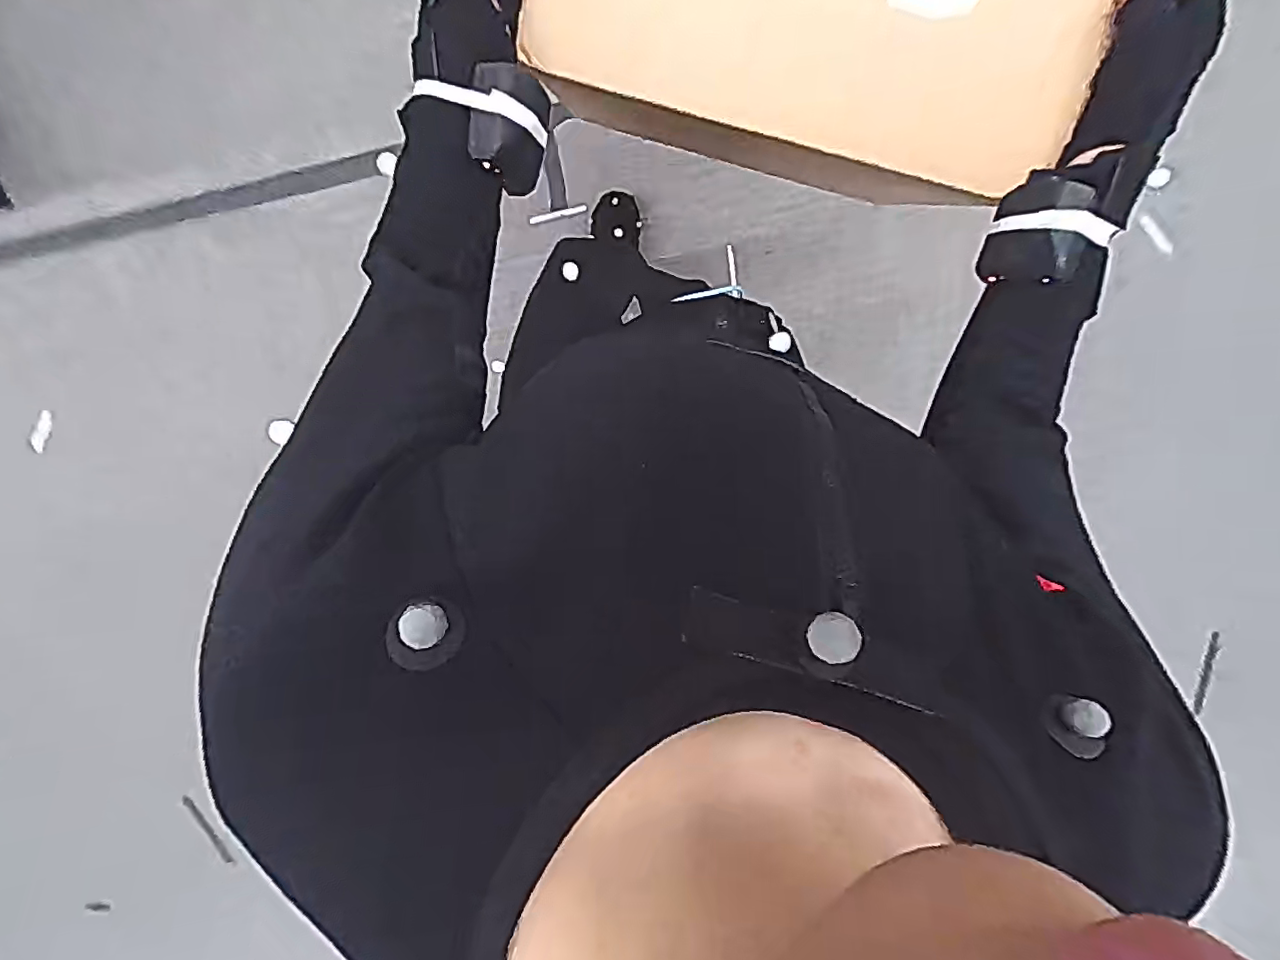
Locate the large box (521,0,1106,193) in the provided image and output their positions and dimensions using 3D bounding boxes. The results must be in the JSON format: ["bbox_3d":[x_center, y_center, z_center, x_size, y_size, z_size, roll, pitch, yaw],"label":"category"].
[{"bbox_3d":[0.134,-0.464,0.474,0.408,0.320,0.320,11,118,-5],"label":"large box"}]
